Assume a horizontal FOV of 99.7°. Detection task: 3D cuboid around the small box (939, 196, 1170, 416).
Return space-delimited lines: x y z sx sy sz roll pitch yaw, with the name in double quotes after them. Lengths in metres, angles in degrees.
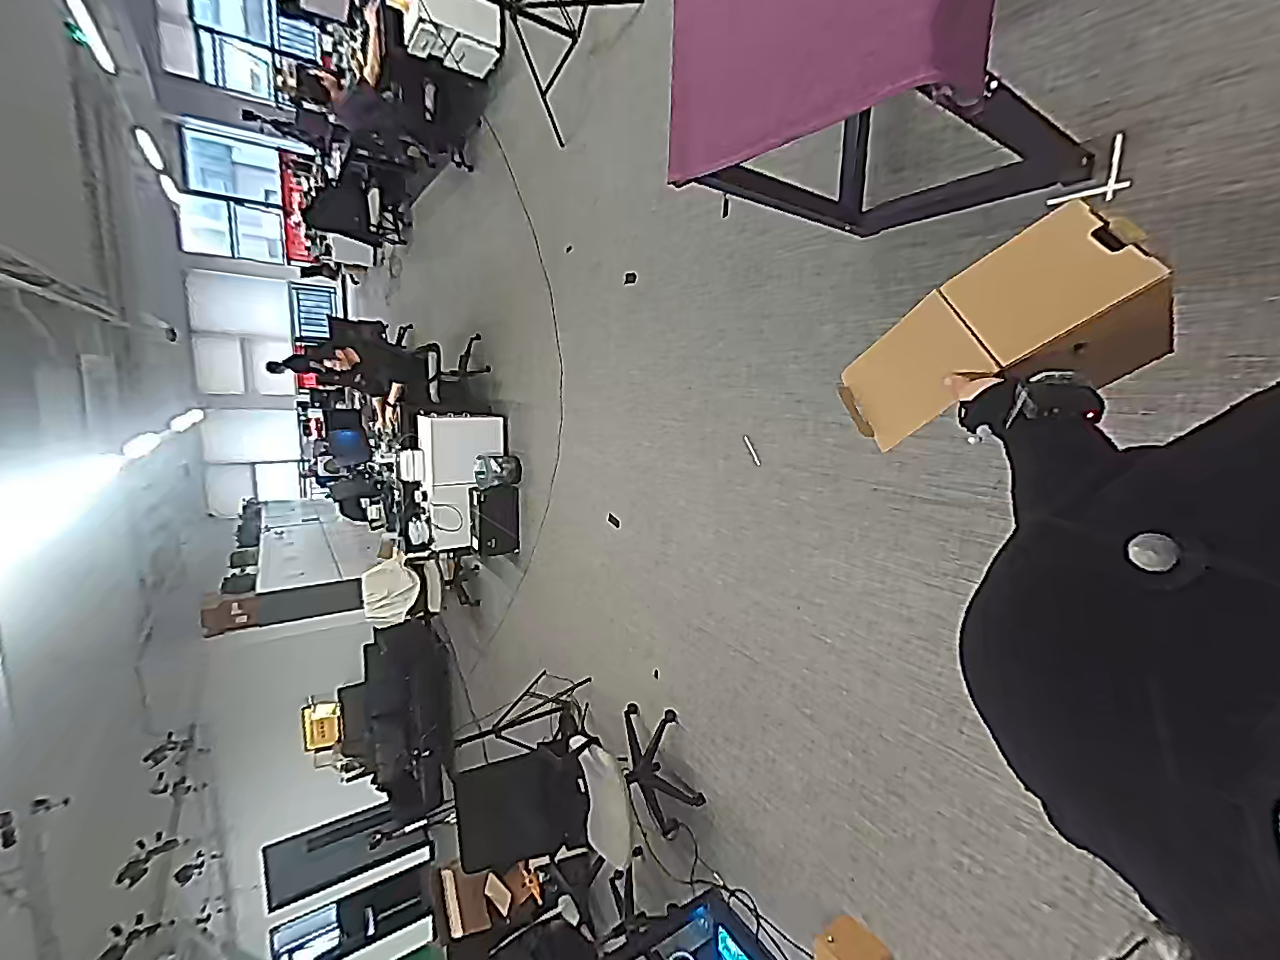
0.537 -0.214 0.705 0.179 0.176 0.168 -34 49 29 "small box"
